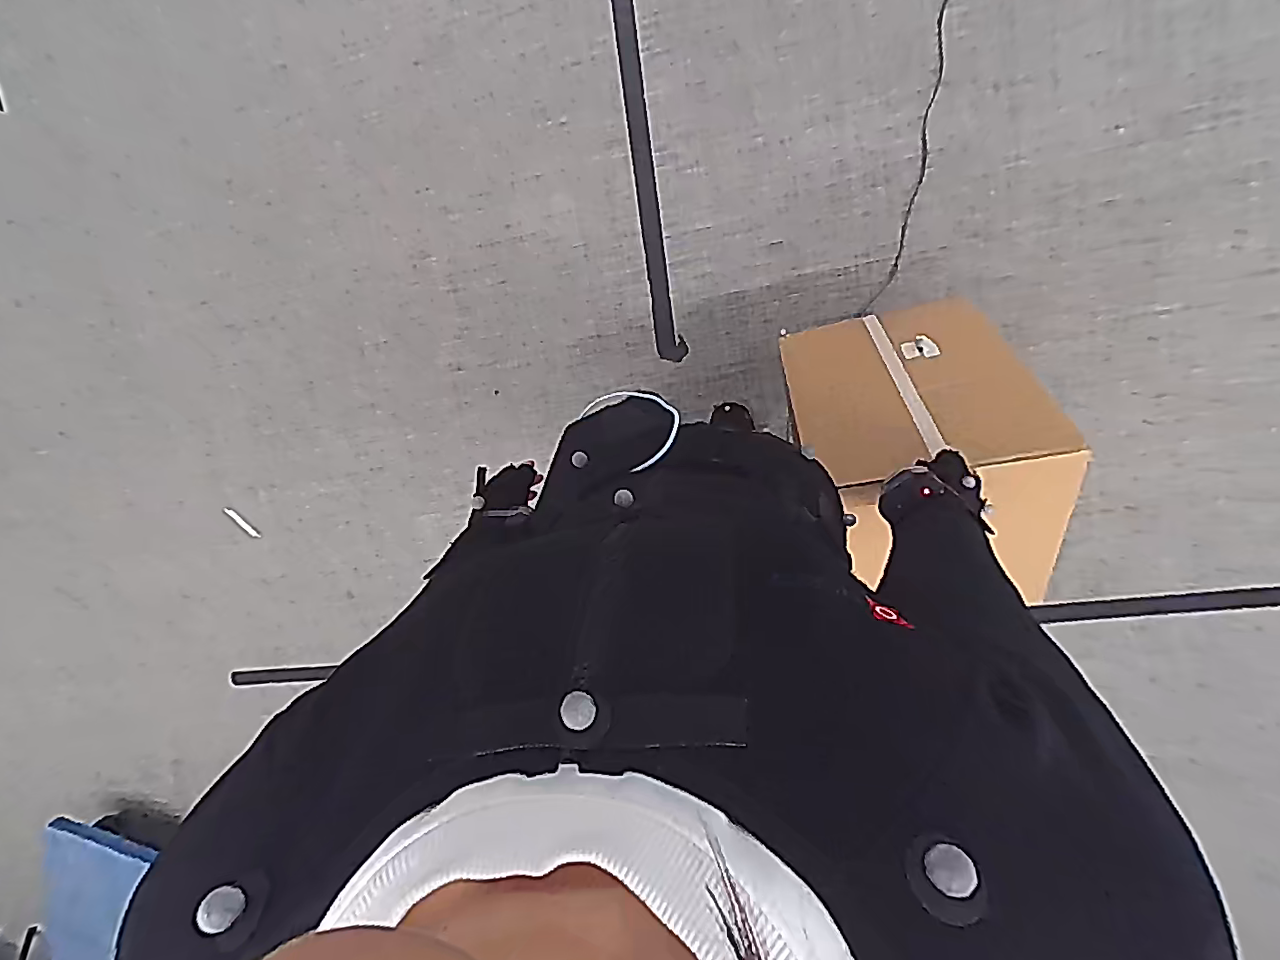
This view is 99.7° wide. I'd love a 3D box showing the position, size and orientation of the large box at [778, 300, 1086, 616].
[{"bbox_3d":[0.434,-0.040,0.905,0.320,0.408,0.320,-10,130,13],"label":"large box"}]
